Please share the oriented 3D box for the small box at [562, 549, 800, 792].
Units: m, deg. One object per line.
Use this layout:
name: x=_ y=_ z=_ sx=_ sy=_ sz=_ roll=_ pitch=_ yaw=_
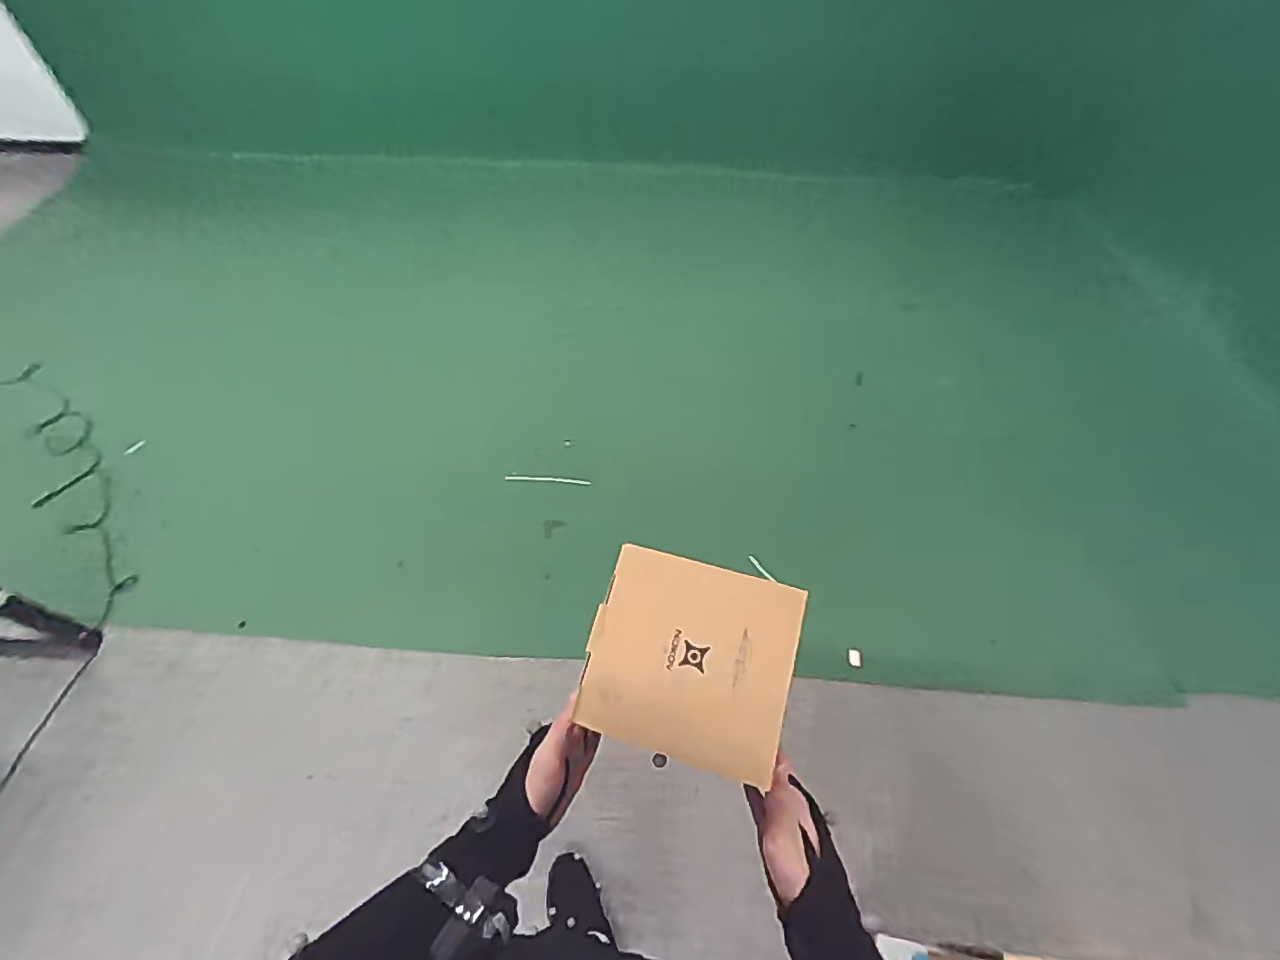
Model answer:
small box: x=0.047 y=0.186 z=0.543 sx=0.179 sy=0.176 sz=0.168 roll=13 pitch=71 yaw=12
